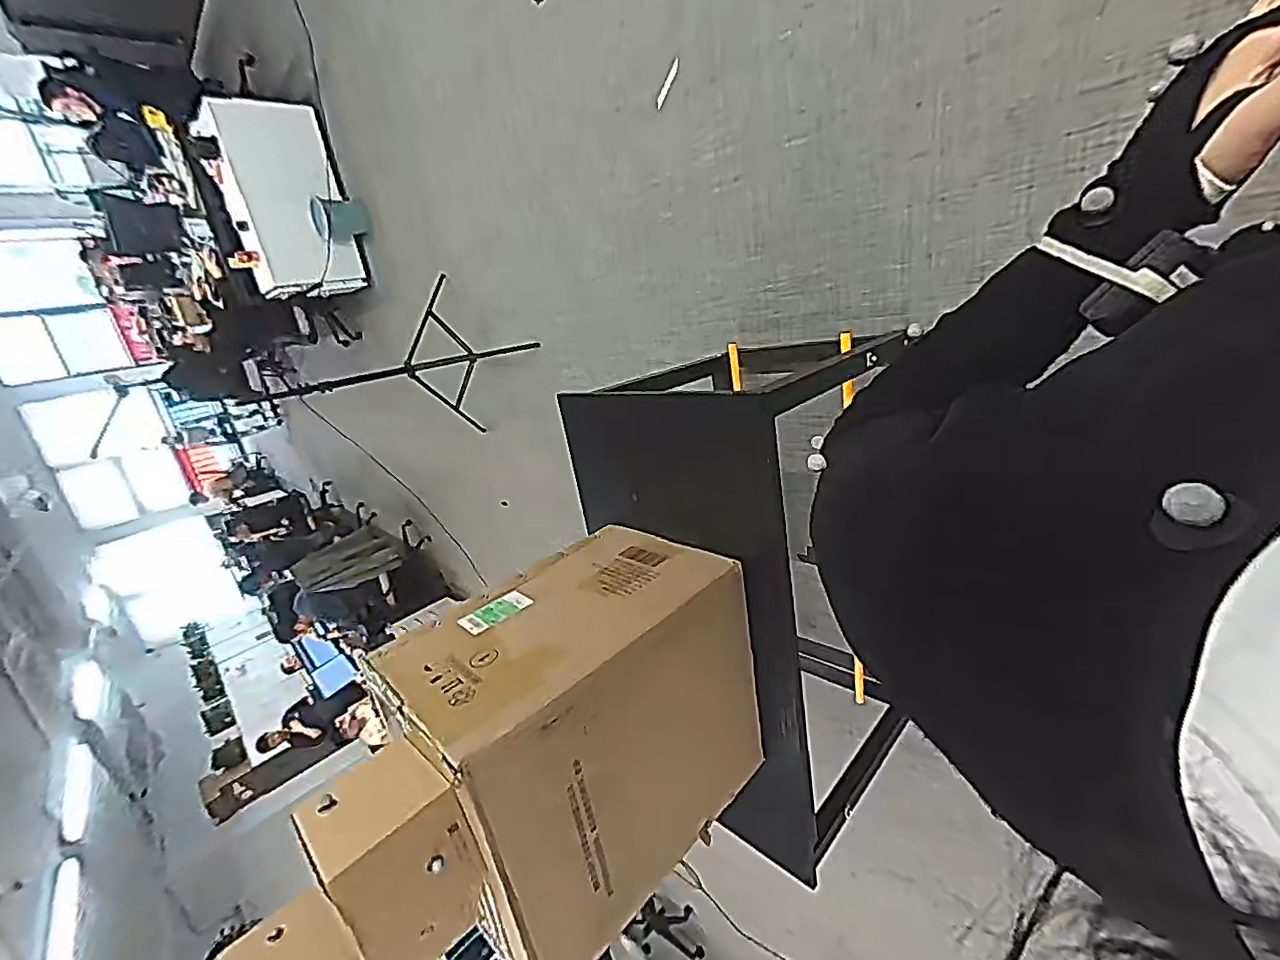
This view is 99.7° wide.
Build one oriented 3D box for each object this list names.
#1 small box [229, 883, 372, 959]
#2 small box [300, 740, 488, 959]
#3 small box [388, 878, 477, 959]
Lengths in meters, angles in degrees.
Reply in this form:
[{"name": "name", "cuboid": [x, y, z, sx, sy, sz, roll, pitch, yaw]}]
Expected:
[{"name": "small box", "cuboid": [-0.520, 0.798, 0.867, 0.179, 0.176, 0.168, 12, 119, 45]}, {"name": "small box", "cuboid": [-0.345, 0.509, 0.769, 0.179, 0.176, 0.168, 5, 116, 46]}, {"name": "small box", "cuboid": [-0.413, 0.744, 0.980, 0.179, 0.176, 0.168, 10, 116, 46]}]
